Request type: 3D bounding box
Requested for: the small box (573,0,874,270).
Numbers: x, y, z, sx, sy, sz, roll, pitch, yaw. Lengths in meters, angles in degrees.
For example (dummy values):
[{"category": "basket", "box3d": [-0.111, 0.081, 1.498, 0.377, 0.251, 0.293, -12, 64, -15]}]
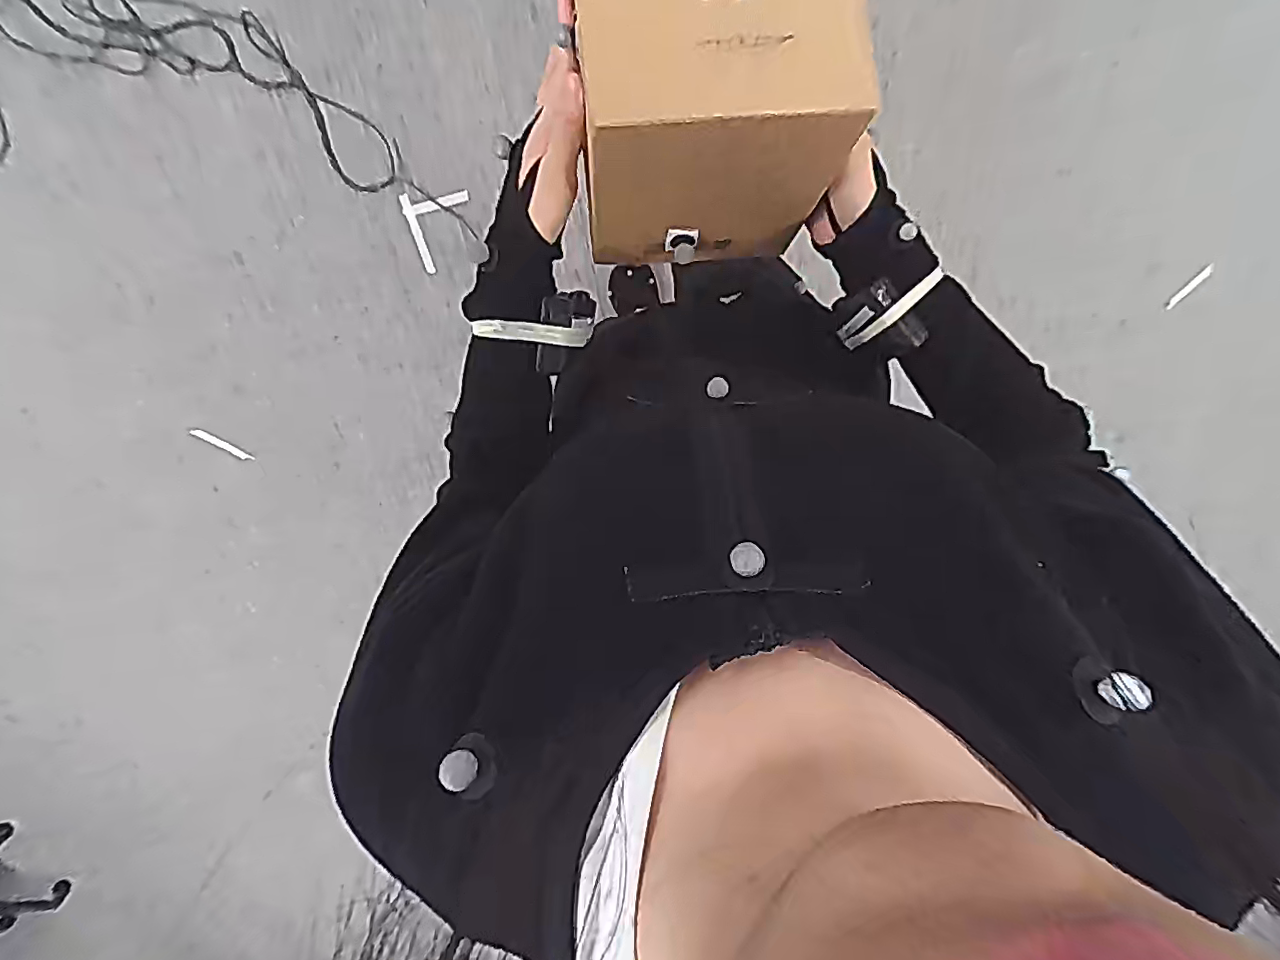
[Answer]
[{"category": "small box", "box3d": [0.040, -0.278, 0.391, 0.168, 0.176, 0.179, -7, 86, -4]}]
